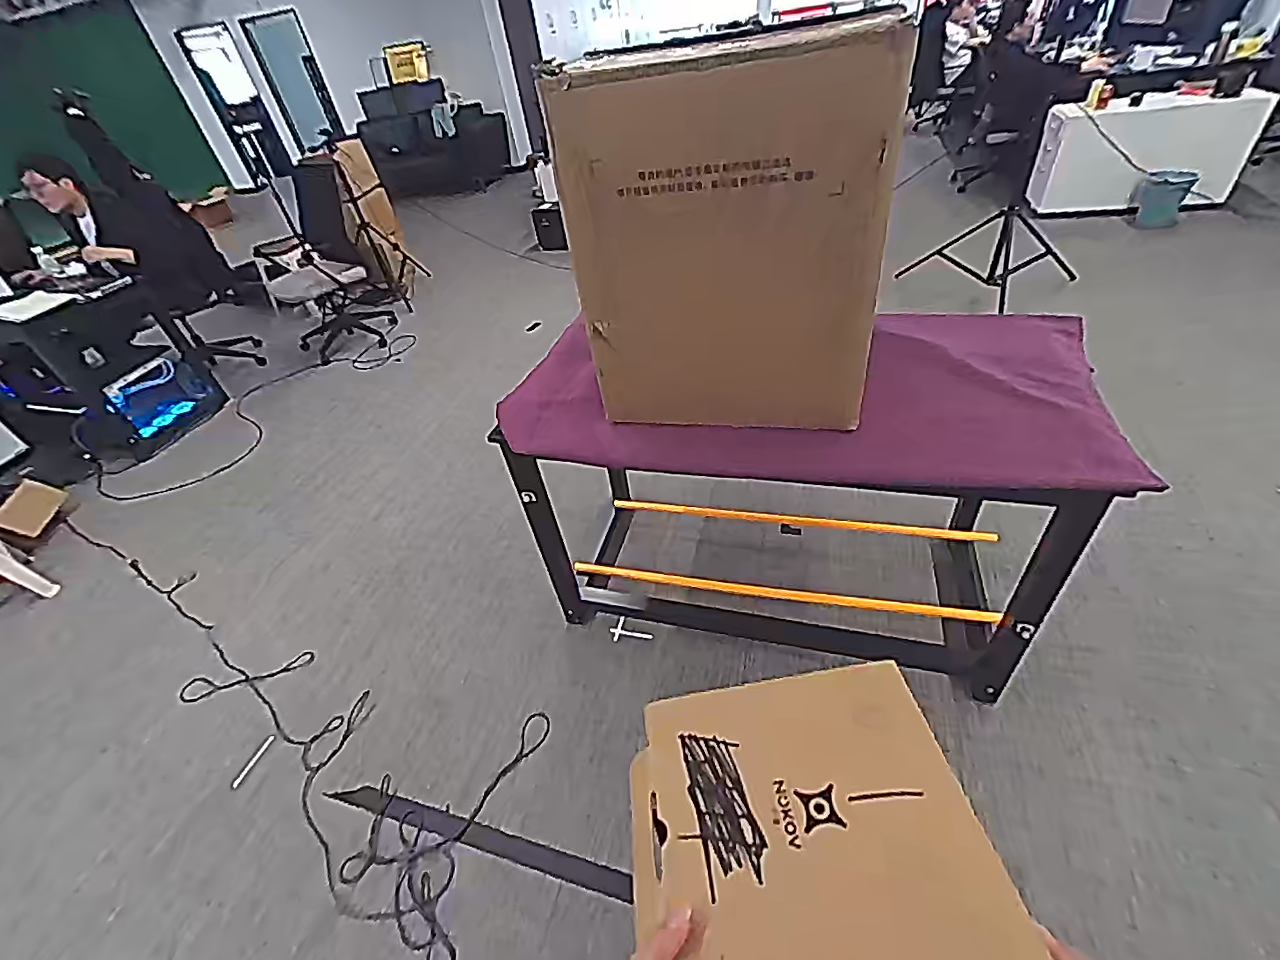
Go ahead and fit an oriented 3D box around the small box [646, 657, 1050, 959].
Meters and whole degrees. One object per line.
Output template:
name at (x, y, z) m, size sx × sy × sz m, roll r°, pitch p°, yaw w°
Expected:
small box at (0.109, 0.247, 0.350) m, size 0.179 × 0.176 × 0.168 m, roll -11°, pitch 35°, yaw 4°
